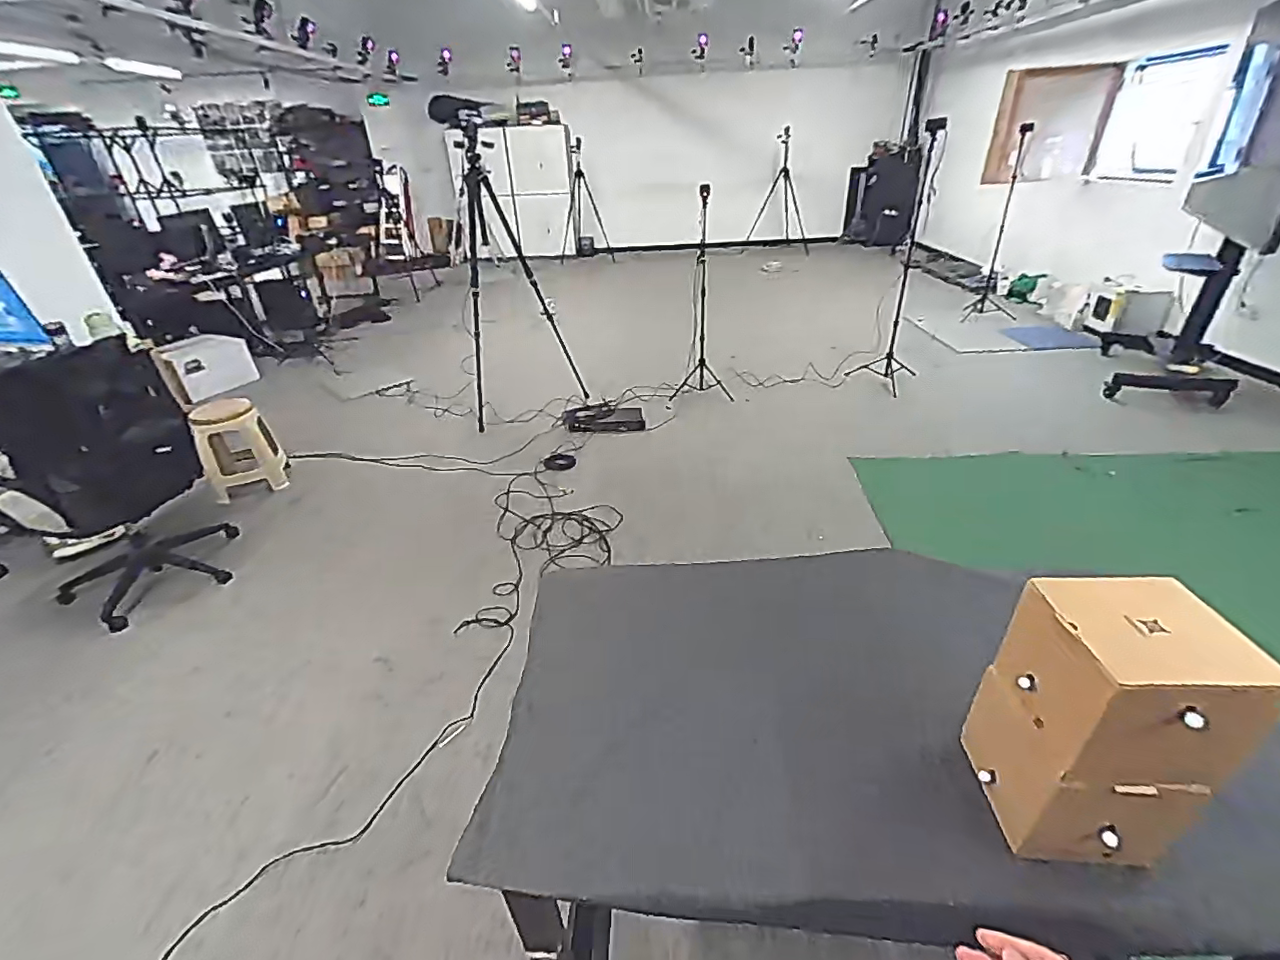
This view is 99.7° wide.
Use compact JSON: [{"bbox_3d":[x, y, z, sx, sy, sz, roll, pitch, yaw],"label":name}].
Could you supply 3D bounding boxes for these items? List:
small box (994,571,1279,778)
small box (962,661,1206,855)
[{"bbox_3d":[0.564,0.226,0.639,0.179,0.176,0.168,-2,30,4],"label":"small box"},{"bbox_3d":[0.565,0.367,0.721,0.168,0.176,0.179,-1,31,6],"label":"small box"}]
